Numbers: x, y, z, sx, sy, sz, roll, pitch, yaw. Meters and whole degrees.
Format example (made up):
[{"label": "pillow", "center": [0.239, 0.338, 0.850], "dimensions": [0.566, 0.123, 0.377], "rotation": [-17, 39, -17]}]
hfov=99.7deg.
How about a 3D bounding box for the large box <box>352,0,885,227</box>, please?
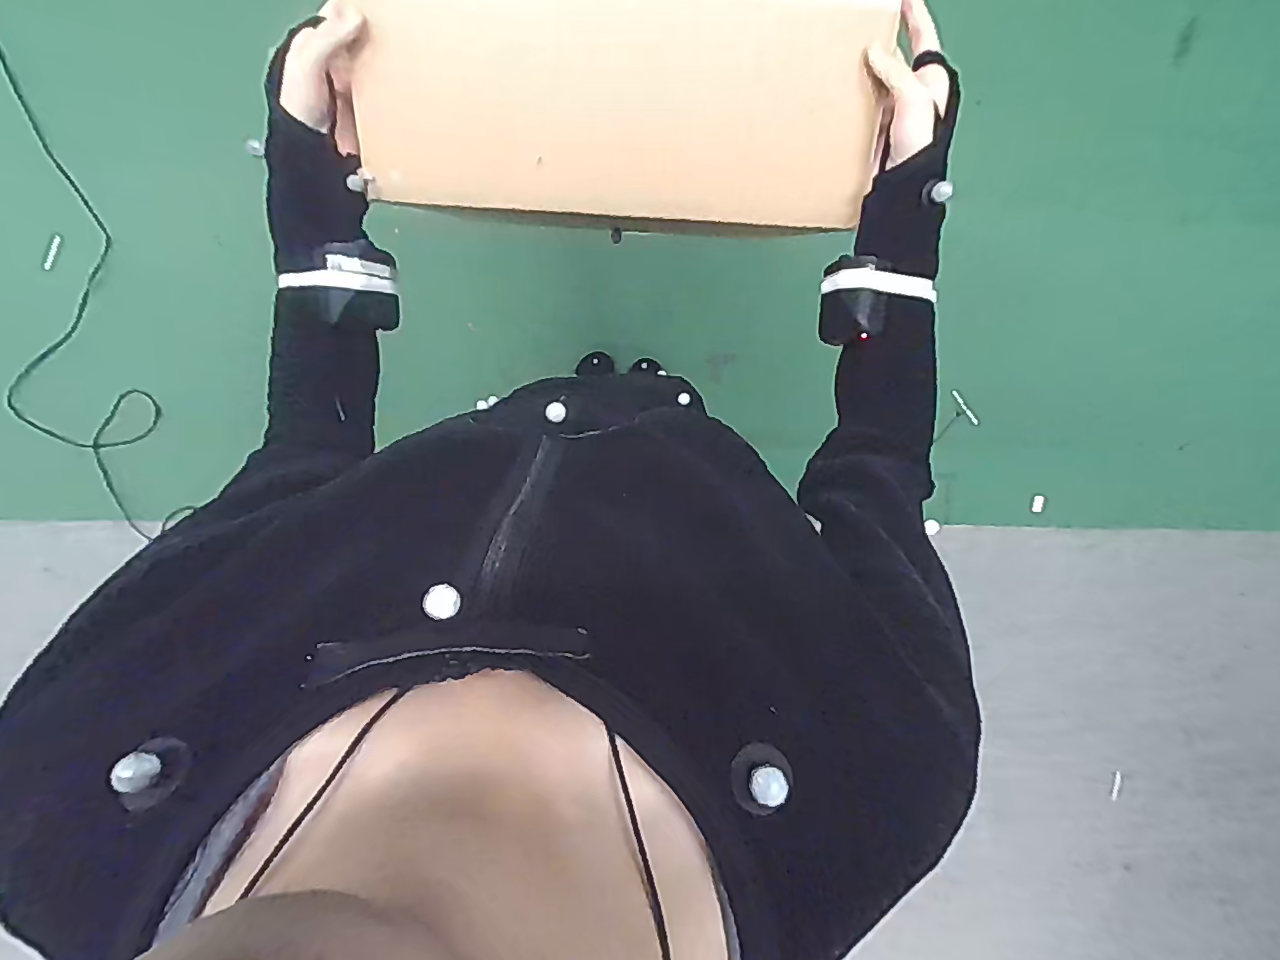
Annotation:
[{"label": "large box", "center": [-0.017, -0.425, 0.532], "dimensions": [0.408, 0.320, 0.320], "rotation": [1, 112, -4]}]
